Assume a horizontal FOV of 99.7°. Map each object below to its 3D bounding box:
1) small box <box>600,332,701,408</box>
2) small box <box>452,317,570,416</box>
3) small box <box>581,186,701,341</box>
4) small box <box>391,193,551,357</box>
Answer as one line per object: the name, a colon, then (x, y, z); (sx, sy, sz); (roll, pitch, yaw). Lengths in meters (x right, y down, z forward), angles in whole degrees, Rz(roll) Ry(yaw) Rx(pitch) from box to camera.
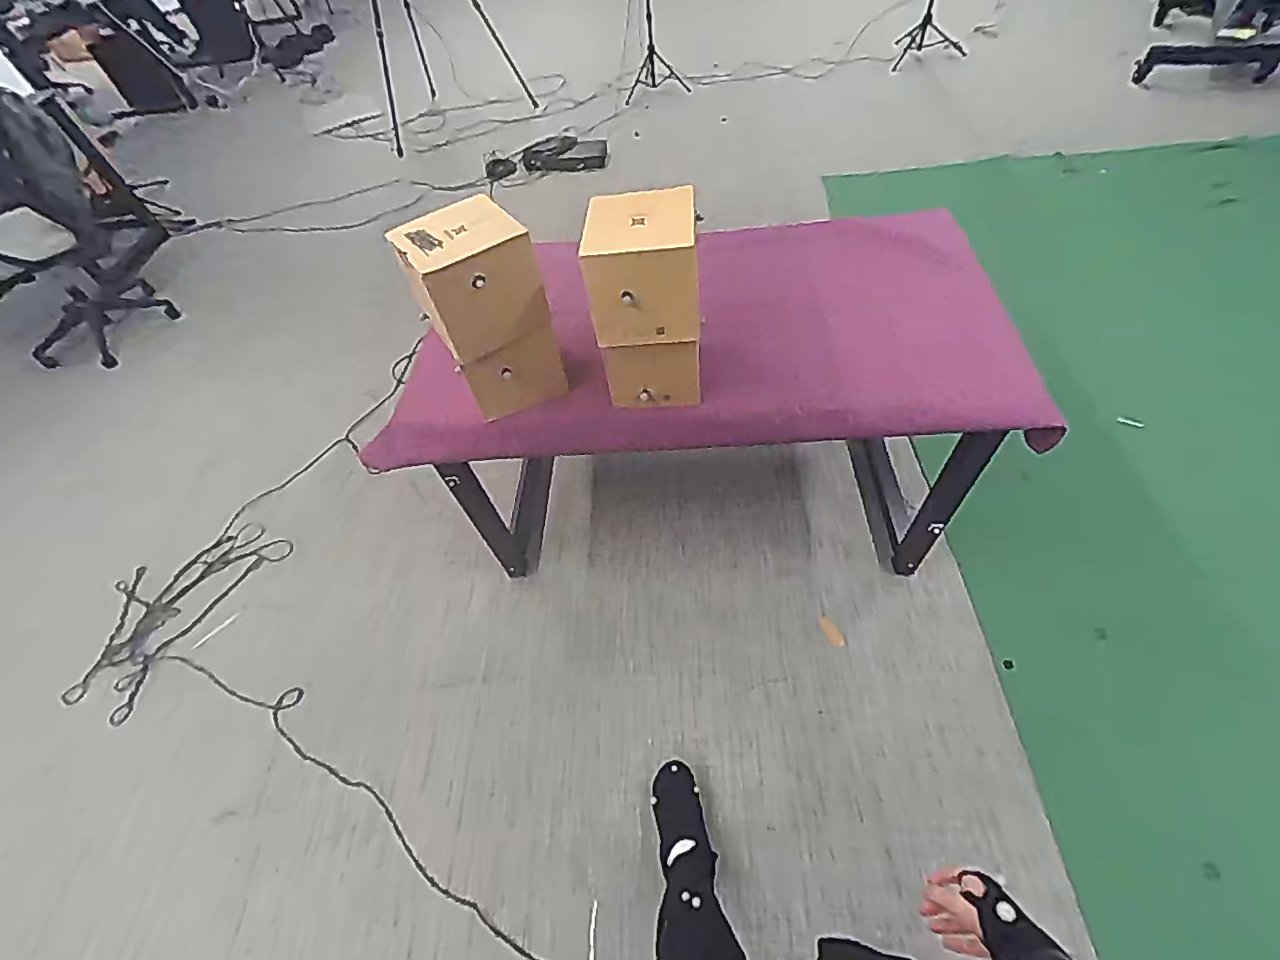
small box: (0.028, -0.254, 1.003); (0.168, 0.176, 0.179); (-1, 54, 7)
small box: (-0.251, -0.249, 1.033); (0.179, 0.176, 0.168); (-22, 54, -9)
small box: (0.011, -0.336, 0.863); (0.168, 0.176, 0.179); (-2, 52, 7)
small box: (-0.270, -0.334, 0.892); (0.179, 0.176, 0.168); (-31, 56, -17)
